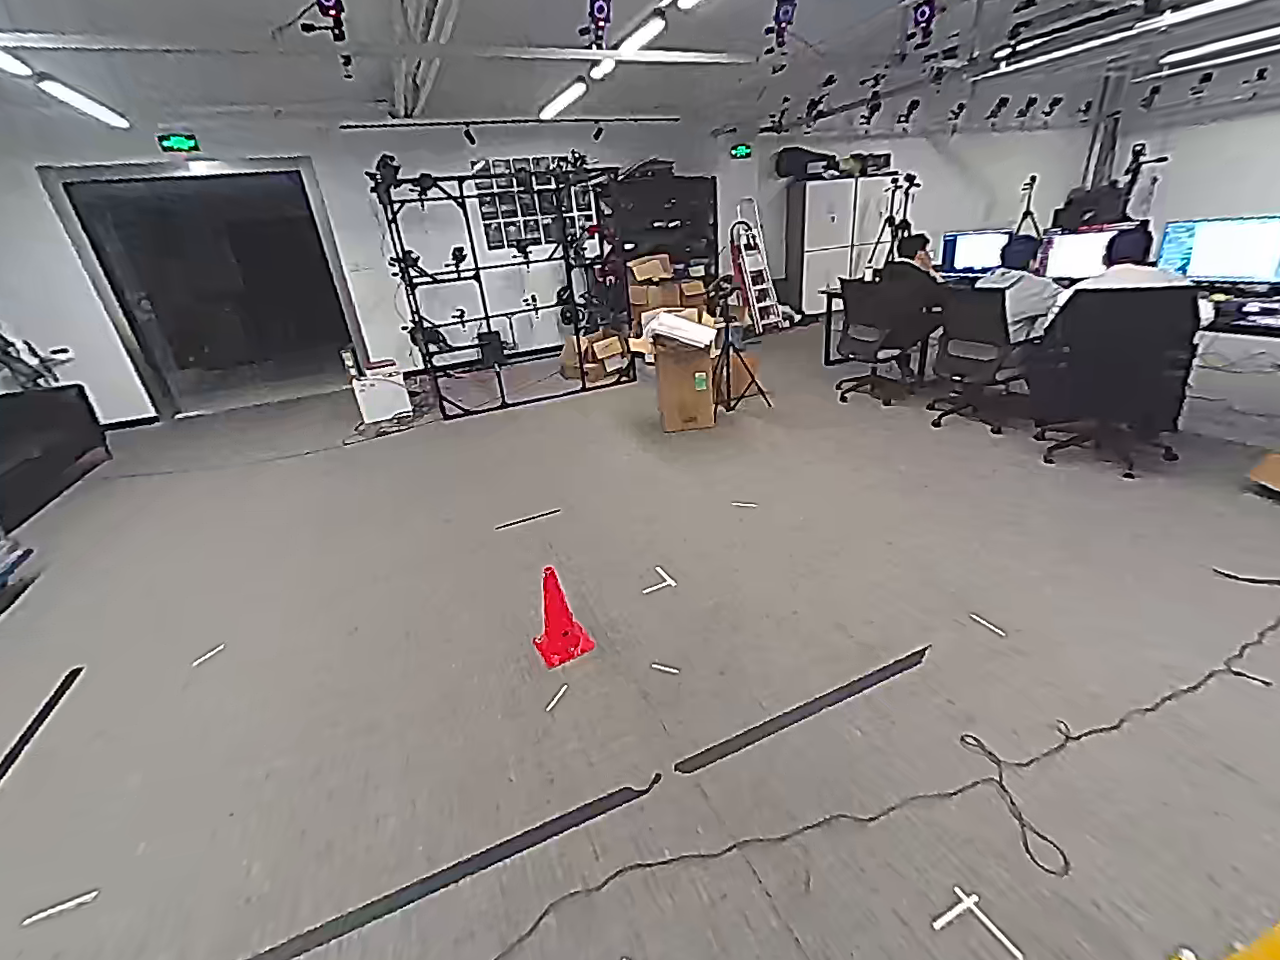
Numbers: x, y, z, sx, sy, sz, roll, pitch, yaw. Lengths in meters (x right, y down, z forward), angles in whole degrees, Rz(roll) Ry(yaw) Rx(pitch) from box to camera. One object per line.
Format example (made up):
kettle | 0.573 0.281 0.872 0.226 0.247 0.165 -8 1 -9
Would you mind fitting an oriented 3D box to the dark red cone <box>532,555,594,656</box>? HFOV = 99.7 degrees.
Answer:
dark red cone | -0.314 0.457 2.046 0.202 0.394 0.201 -19 28 -26
